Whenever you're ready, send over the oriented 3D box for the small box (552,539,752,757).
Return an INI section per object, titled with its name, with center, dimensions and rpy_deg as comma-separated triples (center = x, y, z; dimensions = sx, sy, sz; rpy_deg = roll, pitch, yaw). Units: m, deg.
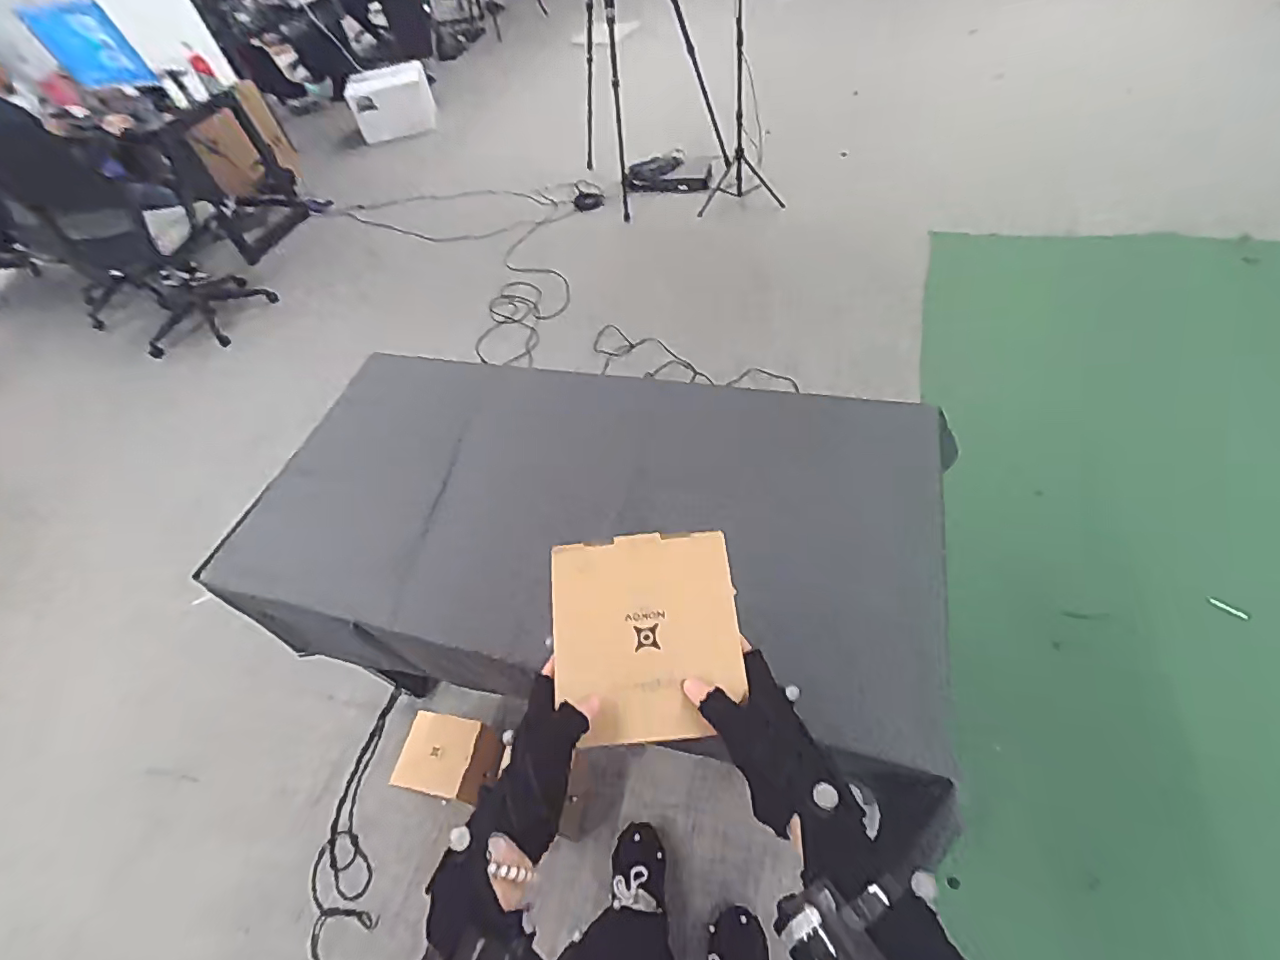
[small box]
center = 0.006, 0.172, 0.544
dimensions = 0.168, 0.176, 0.179
rpy_deg = -5, 67, 0
